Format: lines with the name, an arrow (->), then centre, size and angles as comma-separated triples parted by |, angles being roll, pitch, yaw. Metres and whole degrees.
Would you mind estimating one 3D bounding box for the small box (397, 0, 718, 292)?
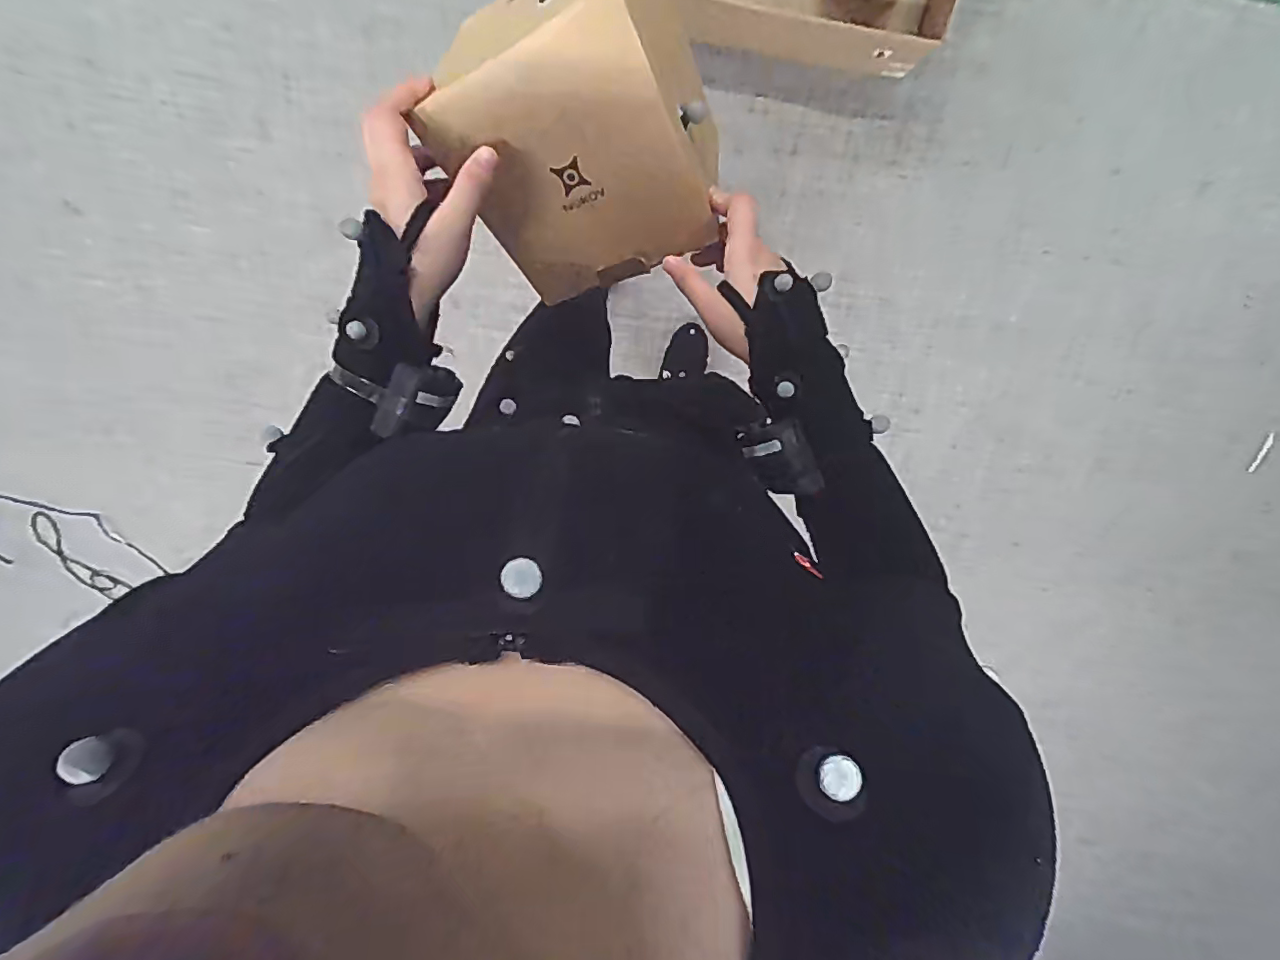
small box -> -0.046, -0.292, 0.424 | 0.168, 0.176, 0.179 | -12, 145, 24
